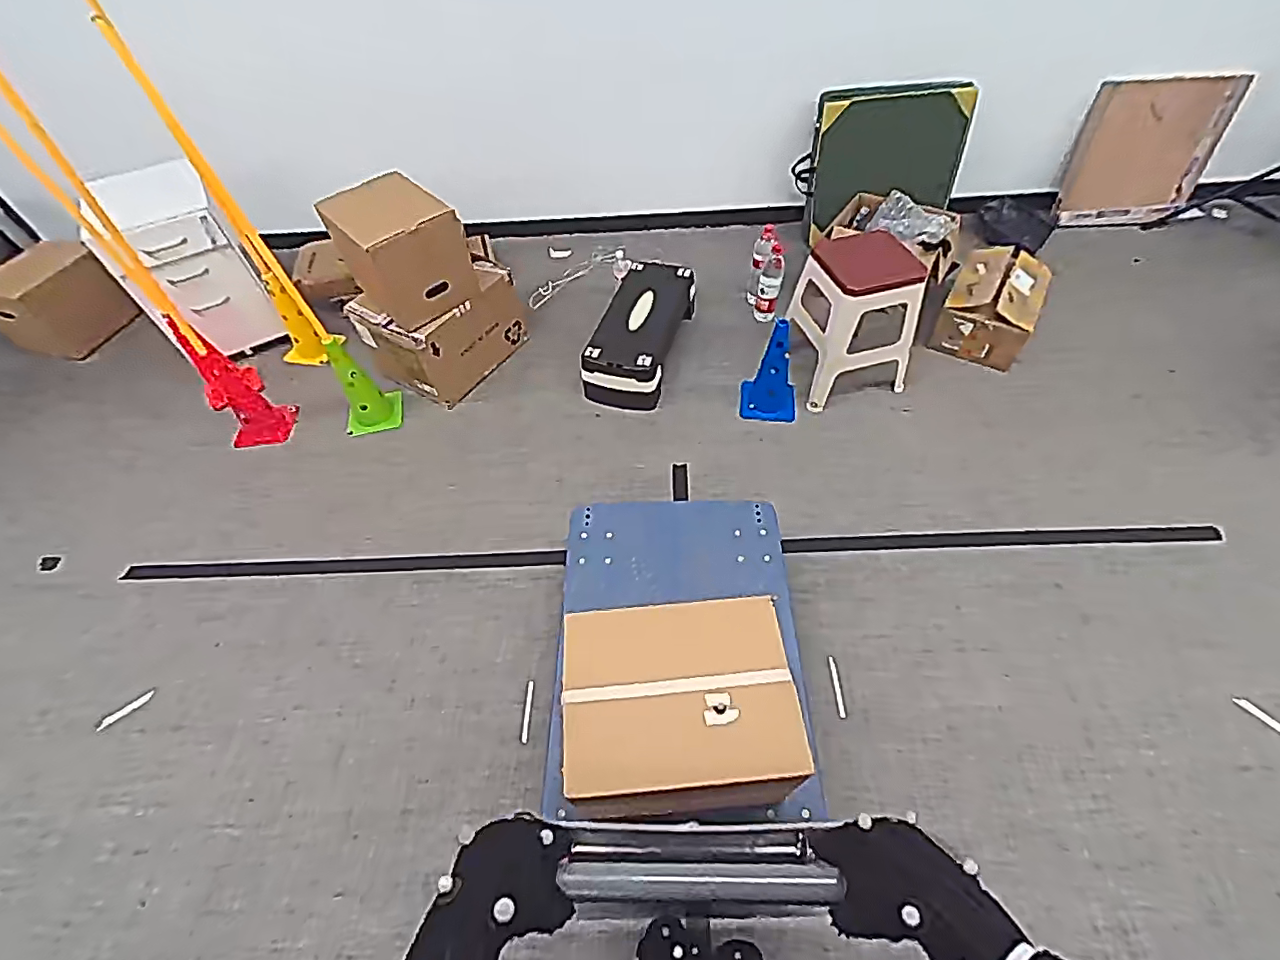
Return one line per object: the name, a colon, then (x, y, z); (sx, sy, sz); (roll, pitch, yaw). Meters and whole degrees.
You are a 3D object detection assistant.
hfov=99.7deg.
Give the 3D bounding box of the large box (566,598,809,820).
large box: (0.070, 0.464, 1.086); (0.408, 0.320, 0.320); (-5, 53, -2)
